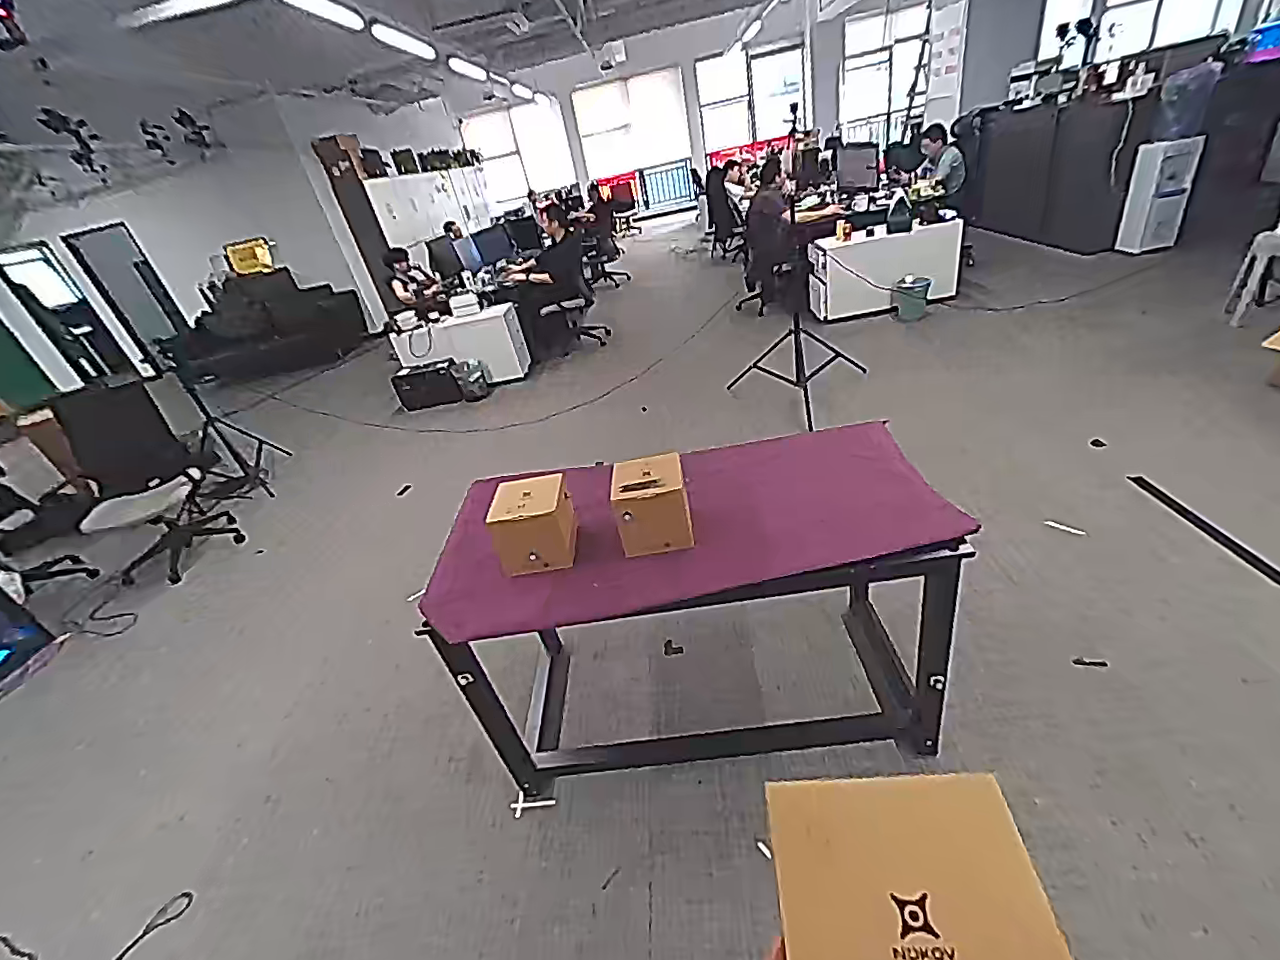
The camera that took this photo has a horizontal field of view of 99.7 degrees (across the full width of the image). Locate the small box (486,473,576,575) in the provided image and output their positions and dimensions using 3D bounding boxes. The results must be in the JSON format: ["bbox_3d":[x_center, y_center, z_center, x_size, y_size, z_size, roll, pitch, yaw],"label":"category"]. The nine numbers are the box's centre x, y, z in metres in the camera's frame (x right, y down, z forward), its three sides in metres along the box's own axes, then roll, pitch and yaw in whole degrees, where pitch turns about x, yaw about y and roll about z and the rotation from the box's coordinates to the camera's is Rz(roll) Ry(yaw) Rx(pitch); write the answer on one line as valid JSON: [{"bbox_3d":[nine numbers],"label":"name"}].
[{"bbox_3d":[-0.258,0.107,1.327,0.168,0.176,0.179,-10,31,4],"label":"small box"}]

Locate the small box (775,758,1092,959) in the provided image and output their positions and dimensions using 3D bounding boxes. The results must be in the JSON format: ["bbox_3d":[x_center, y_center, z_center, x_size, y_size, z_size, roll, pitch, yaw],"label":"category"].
[{"bbox_3d":[0.191,0.326,0.387,0.168,0.176,0.179,-8,40,8],"label":"small box"}]
